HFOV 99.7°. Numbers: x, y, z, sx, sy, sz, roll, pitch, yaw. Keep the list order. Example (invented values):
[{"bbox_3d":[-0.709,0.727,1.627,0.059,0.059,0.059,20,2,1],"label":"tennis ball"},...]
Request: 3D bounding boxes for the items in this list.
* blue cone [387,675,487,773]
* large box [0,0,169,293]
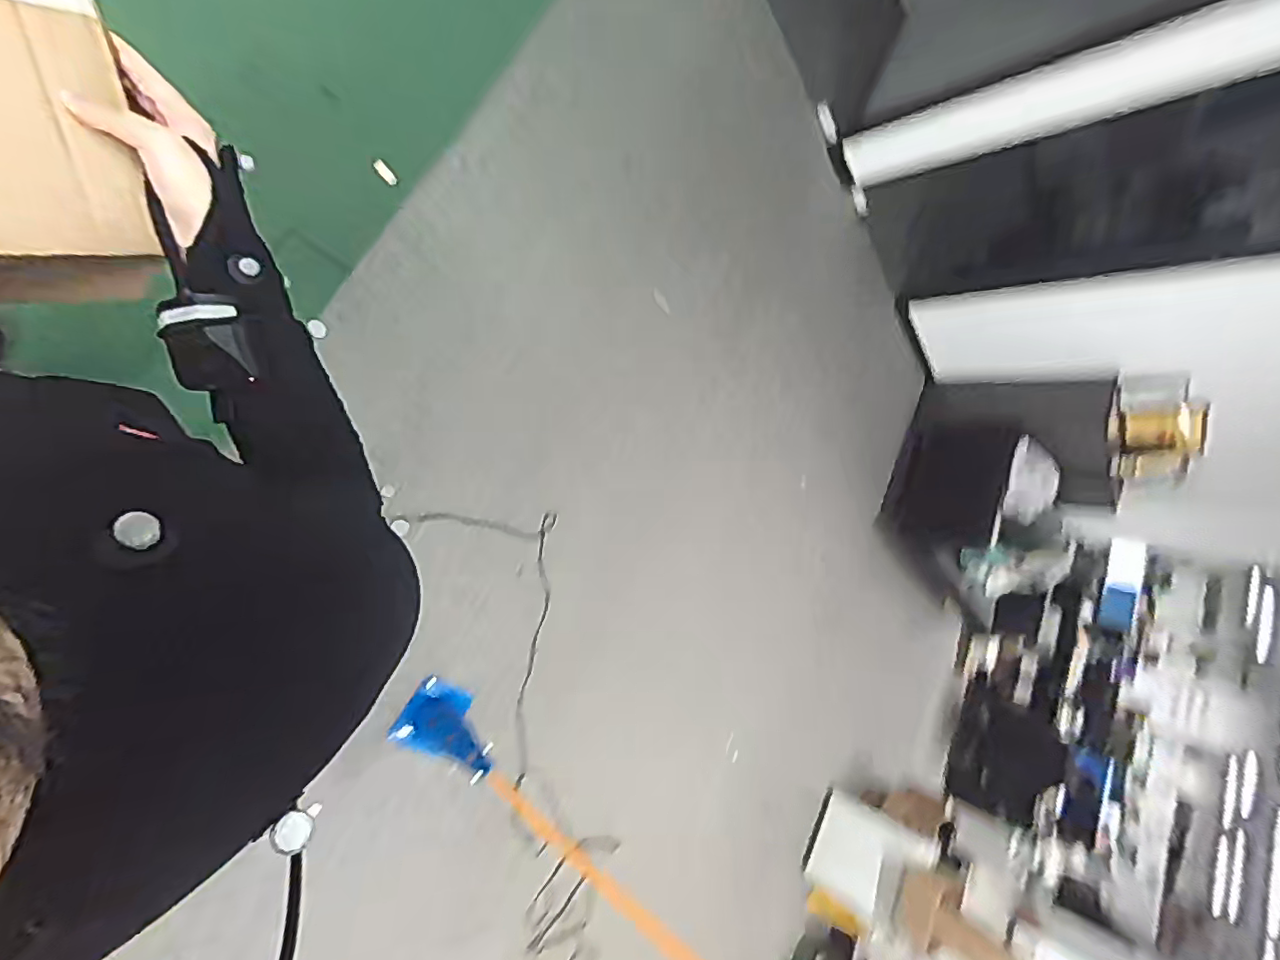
[{"bbox_3d":[-0.528,0.717,1.514,0.192,0.380,0.193,49,63,-36],"label":"blue cone"},{"bbox_3d":[-0.610,-0.287,0.330,0.408,0.320,0.320,-21,113,-43],"label":"large box"}]
